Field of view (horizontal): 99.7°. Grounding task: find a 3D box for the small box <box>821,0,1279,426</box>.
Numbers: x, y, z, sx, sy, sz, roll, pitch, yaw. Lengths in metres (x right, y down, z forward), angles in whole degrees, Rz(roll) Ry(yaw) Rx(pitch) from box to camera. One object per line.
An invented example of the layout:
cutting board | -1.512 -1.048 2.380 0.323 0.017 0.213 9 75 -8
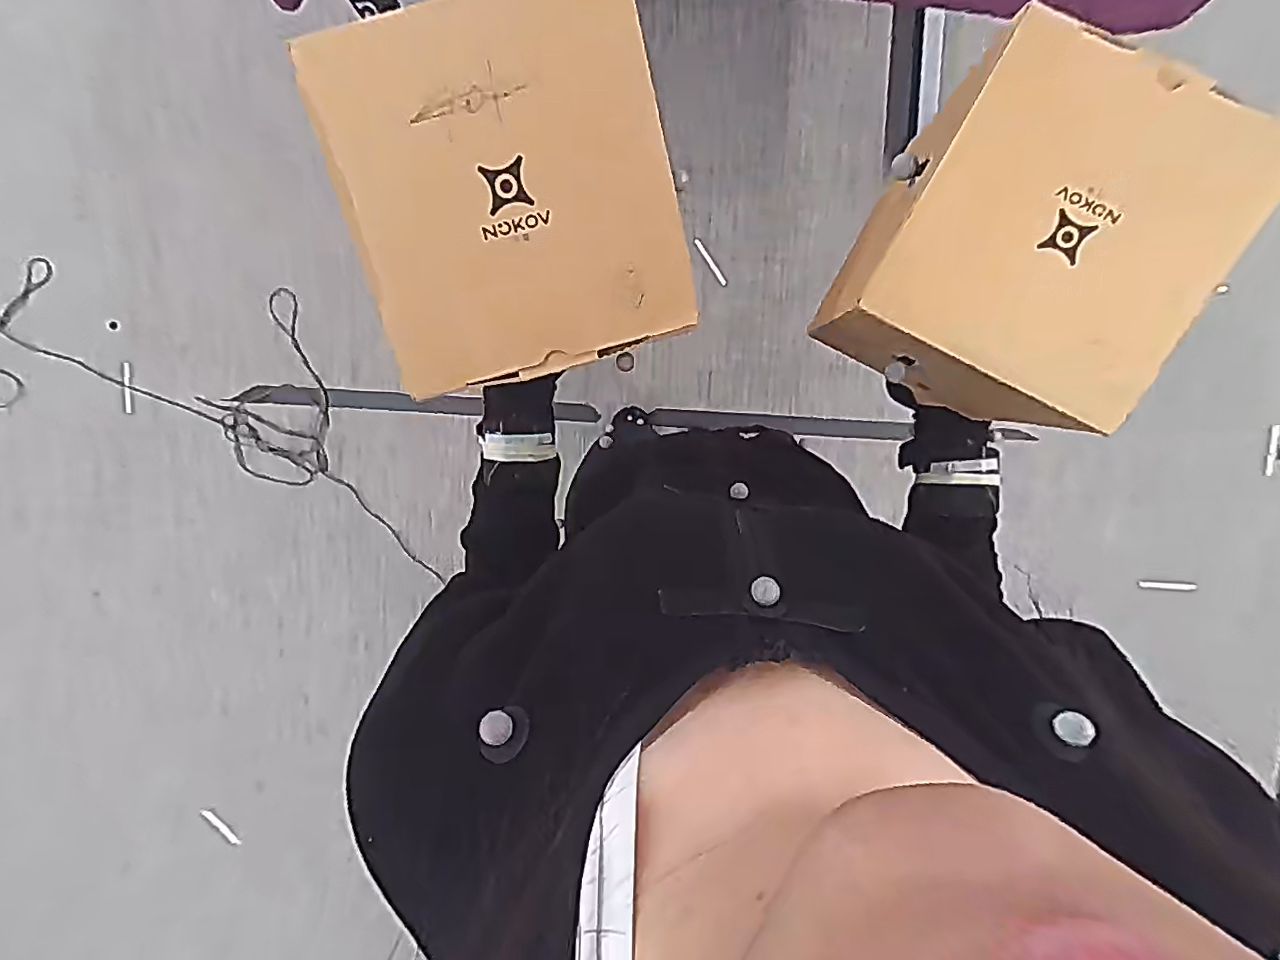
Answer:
small box | 0.245 -0.154 0.375 0.168 0.176 0.179 28 101 2

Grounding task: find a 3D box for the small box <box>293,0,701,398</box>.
small box | -0.067 -0.165 0.350 0.168 0.176 0.179 -15 104 1
